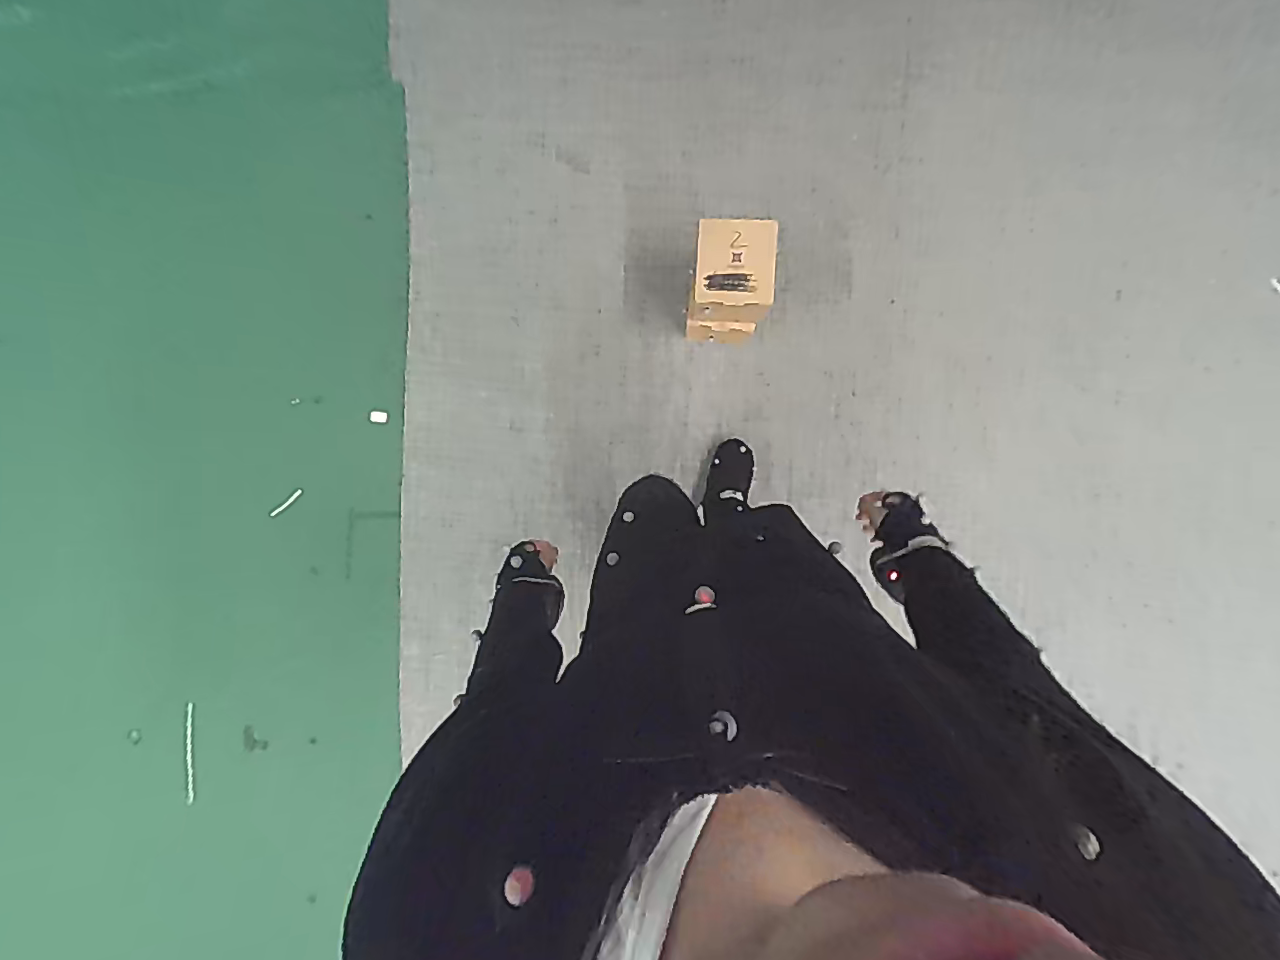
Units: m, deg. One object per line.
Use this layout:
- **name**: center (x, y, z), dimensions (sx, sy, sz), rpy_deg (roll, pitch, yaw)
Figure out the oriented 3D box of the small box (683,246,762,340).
- **small box**: center (0.203, -0.469, 1.376), dimensions (0.168, 0.176, 0.179), rpy_deg (8, 94, 2)
